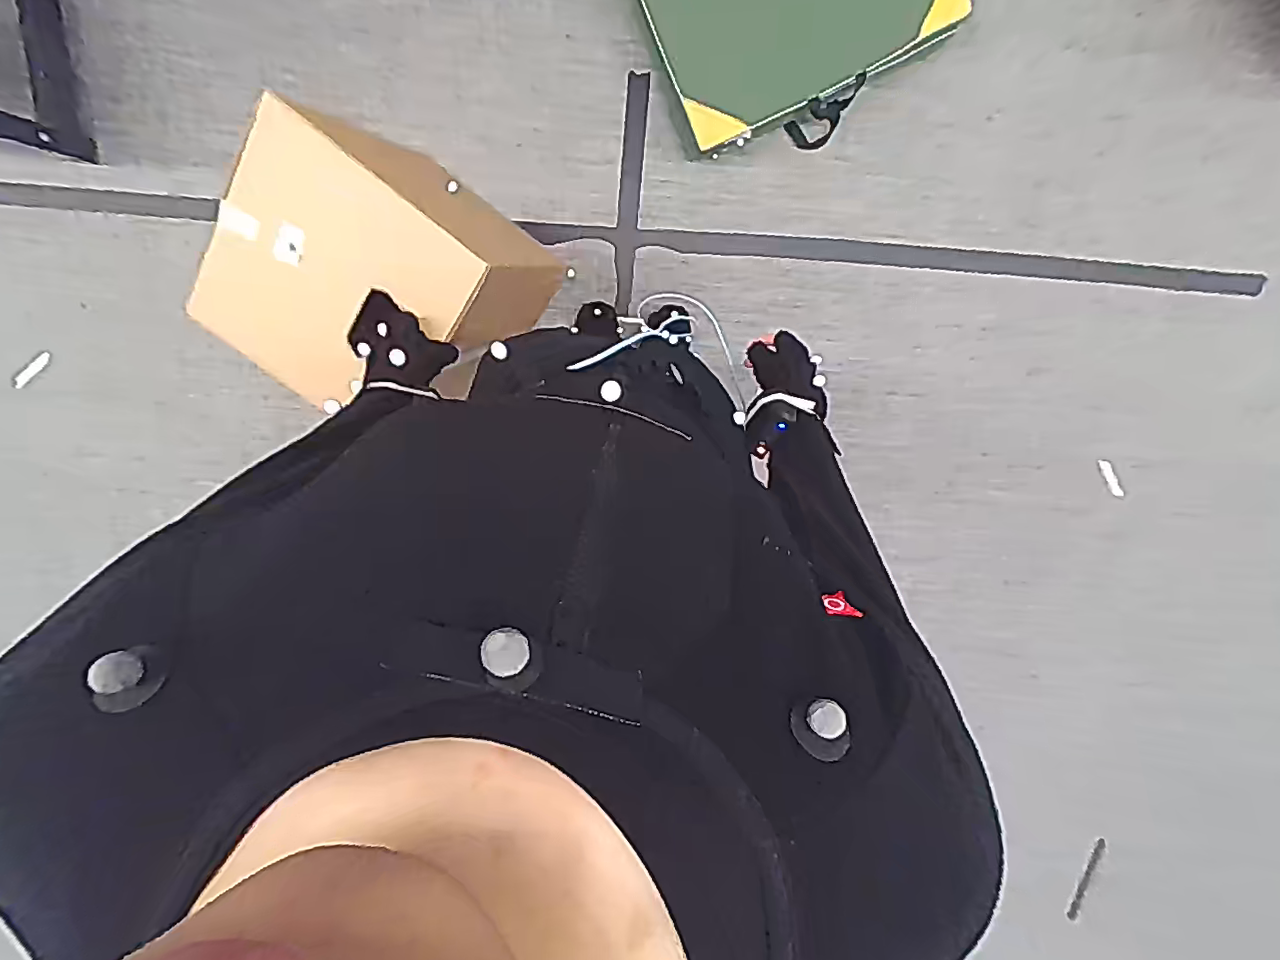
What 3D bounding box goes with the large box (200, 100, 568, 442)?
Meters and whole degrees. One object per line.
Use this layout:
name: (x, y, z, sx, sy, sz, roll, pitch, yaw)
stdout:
large box: (-0.372, -0.325, 0.876, 0.320, 0.408, 0.320, 40, 112, -9)
